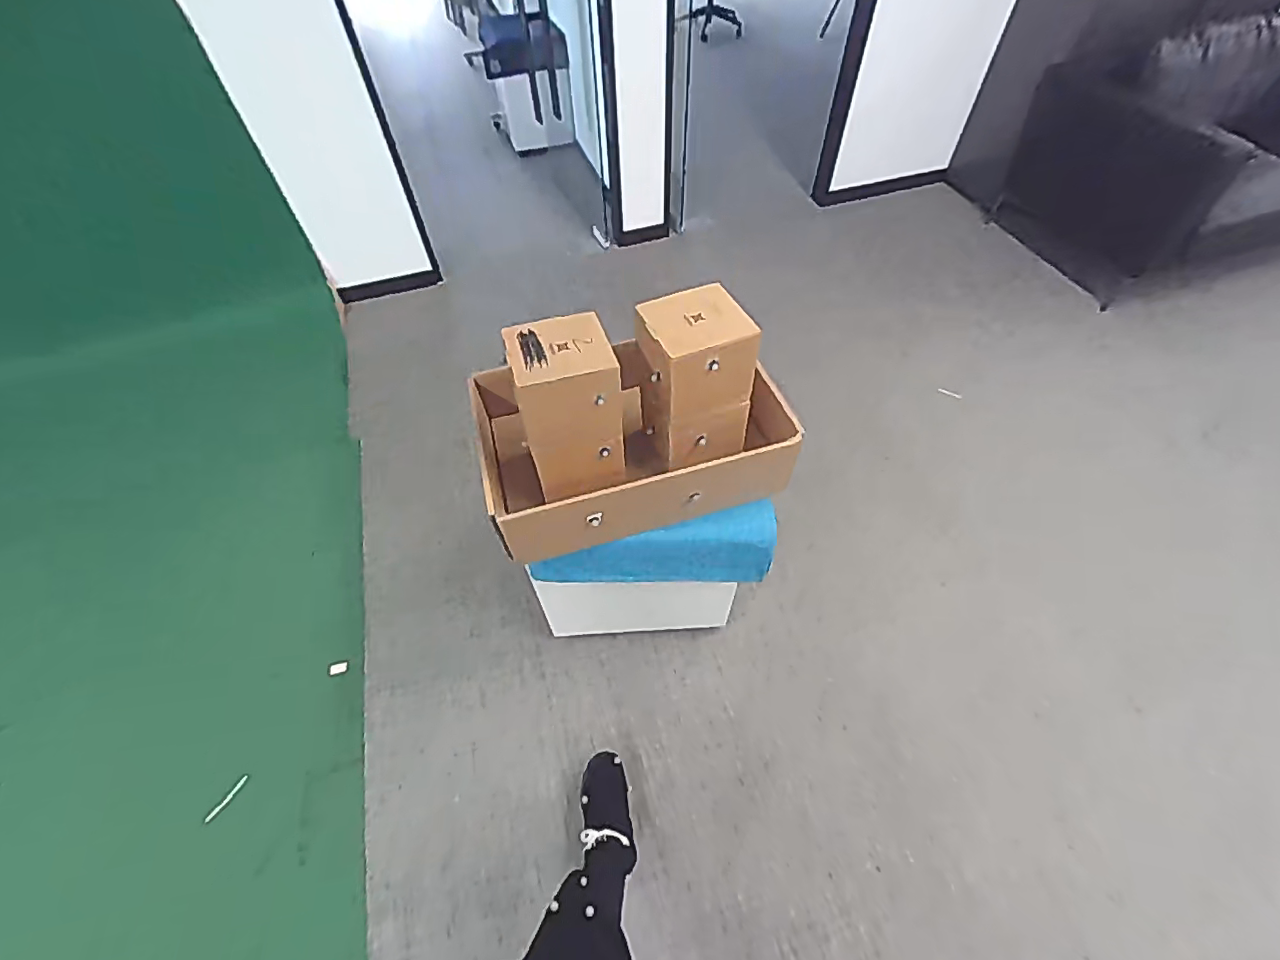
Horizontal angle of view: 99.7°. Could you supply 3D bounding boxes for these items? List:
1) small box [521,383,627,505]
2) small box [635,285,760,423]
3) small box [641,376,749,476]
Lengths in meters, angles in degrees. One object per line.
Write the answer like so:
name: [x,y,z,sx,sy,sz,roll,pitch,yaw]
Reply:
small box: [-0.132,-0.070,1.118,0.179,0.176,0.168,-15,53,-10]
small box: [0.104,-0.234,1.021,0.179,0.176,0.168,-19,54,-11]
small box: [0.116,-0.133,1.150,0.179,0.176,0.168,-19,54,-9]
